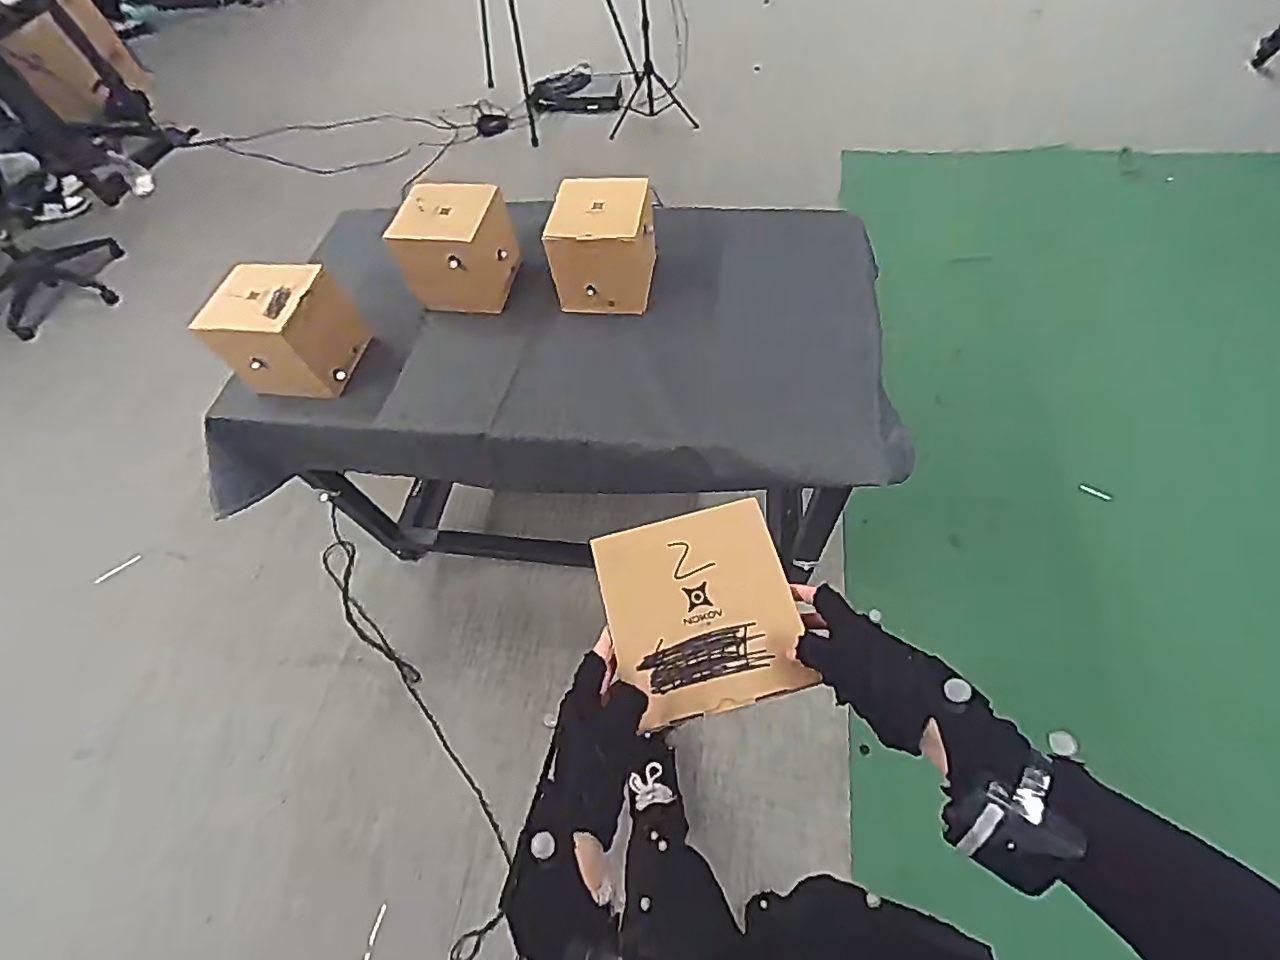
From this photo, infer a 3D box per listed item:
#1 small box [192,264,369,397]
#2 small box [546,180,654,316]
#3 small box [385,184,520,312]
[{"bbox_3d":[-0.635,-0.268,0.984,0.179,0.176,0.168,4,59,9],"label":"small box"},{"bbox_3d":[-0.065,-0.440,1.029,0.168,0.176,0.179,5,61,9],"label":"small box"},{"bbox_3d":[-0.353,-0.450,1.062,0.179,0.176,0.168,6,61,10],"label":"small box"}]
